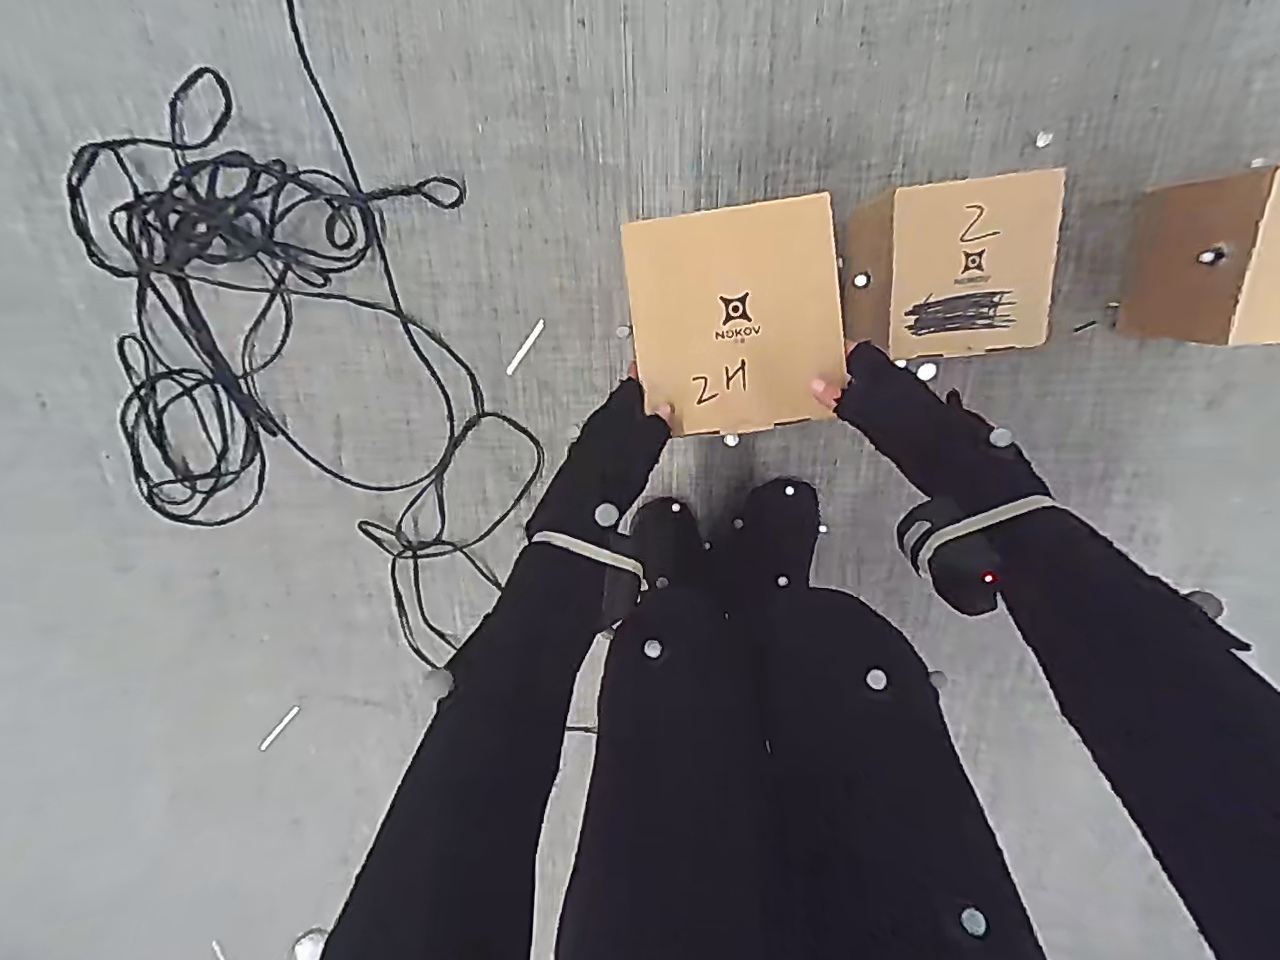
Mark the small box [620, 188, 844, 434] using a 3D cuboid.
[{"bbox_3d":[0.075,-0.137,0.502,0.168,0.176,0.179,-6,96,4],"label":"small box"}]

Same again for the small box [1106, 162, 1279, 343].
[{"bbox_3d":[0.697,-0.260,0.627,0.168,0.176,0.179,-2,111,5],"label":"small box"}]
